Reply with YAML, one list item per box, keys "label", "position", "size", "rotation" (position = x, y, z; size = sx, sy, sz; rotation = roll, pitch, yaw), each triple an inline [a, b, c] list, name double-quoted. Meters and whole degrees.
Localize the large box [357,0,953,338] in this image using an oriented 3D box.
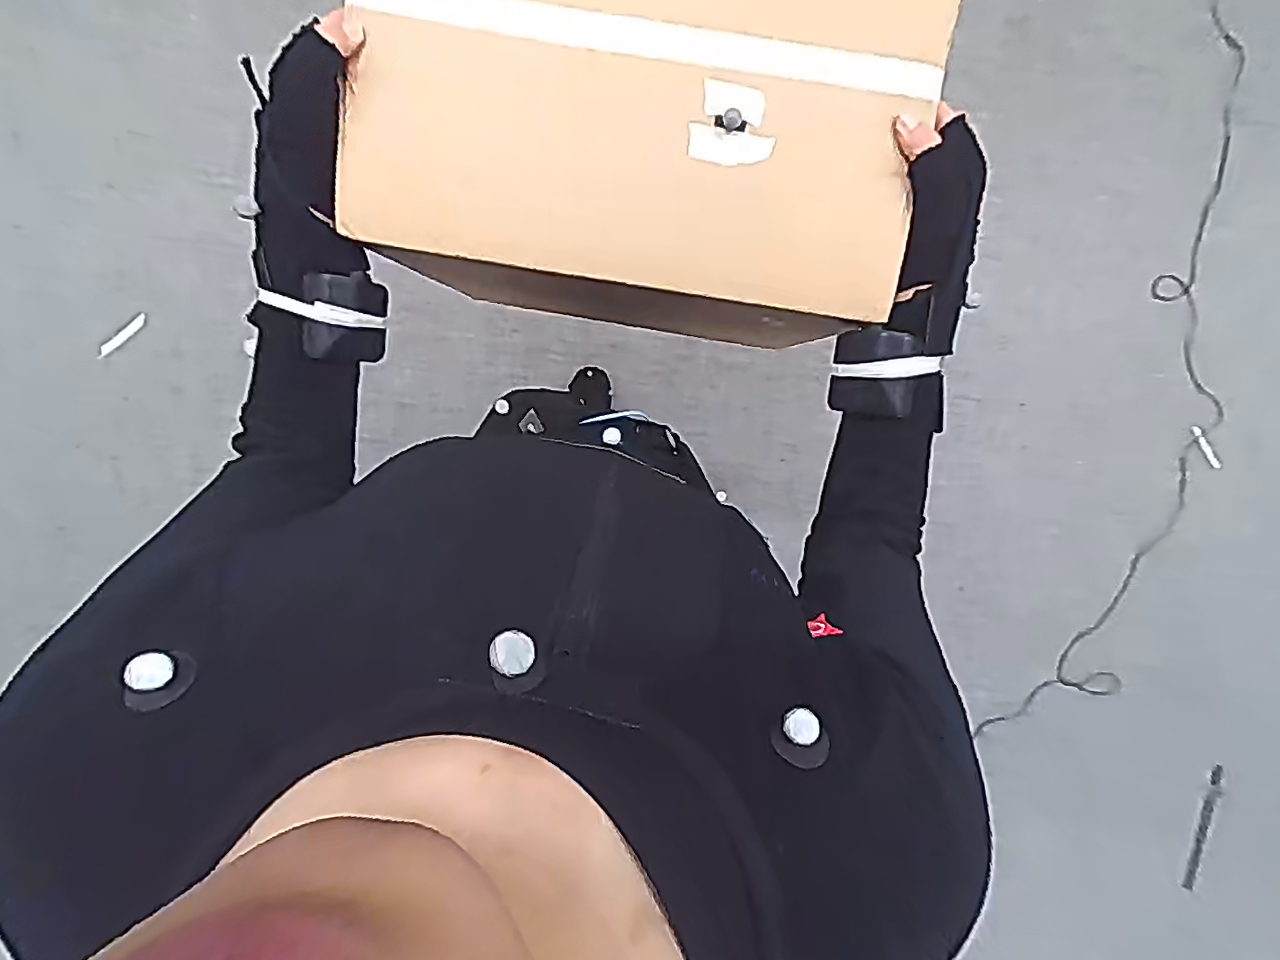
- label: "large box"
  position: [0.007, -0.329, 0.520]
  size: [0.408, 0.320, 0.320]
  rotation: [9, 102, -2]
